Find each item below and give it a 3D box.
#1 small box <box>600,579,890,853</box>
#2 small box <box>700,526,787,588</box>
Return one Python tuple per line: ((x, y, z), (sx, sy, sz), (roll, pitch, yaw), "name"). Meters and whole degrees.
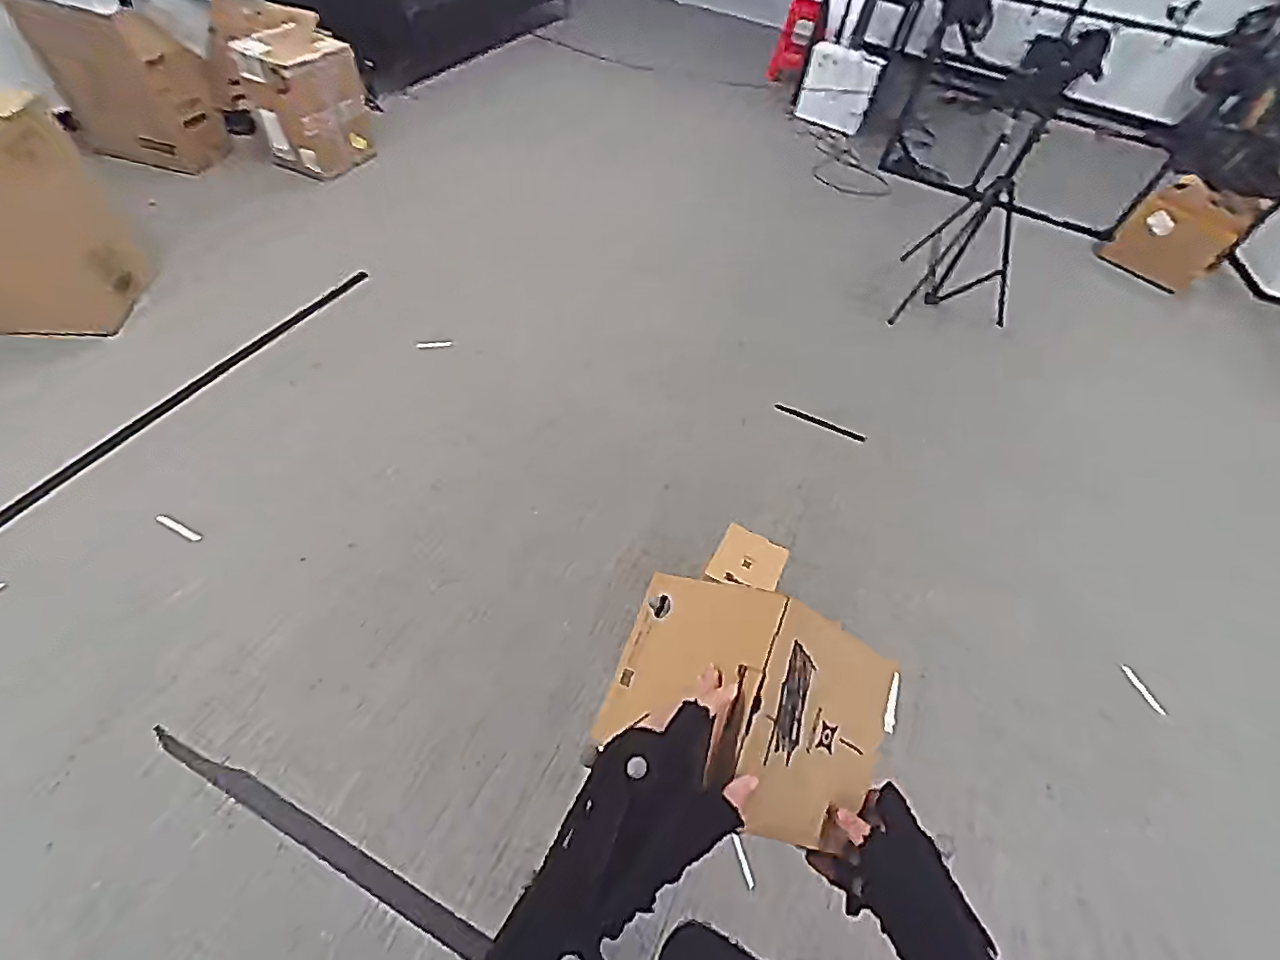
((0.093, 0.200, 0.497), (0.179, 0.176, 0.168), (35, 69, -31), "small box")
((0.251, 0.259, 1.392), (0.168, 0.176, 0.179), (27, 53, 12), "small box")
